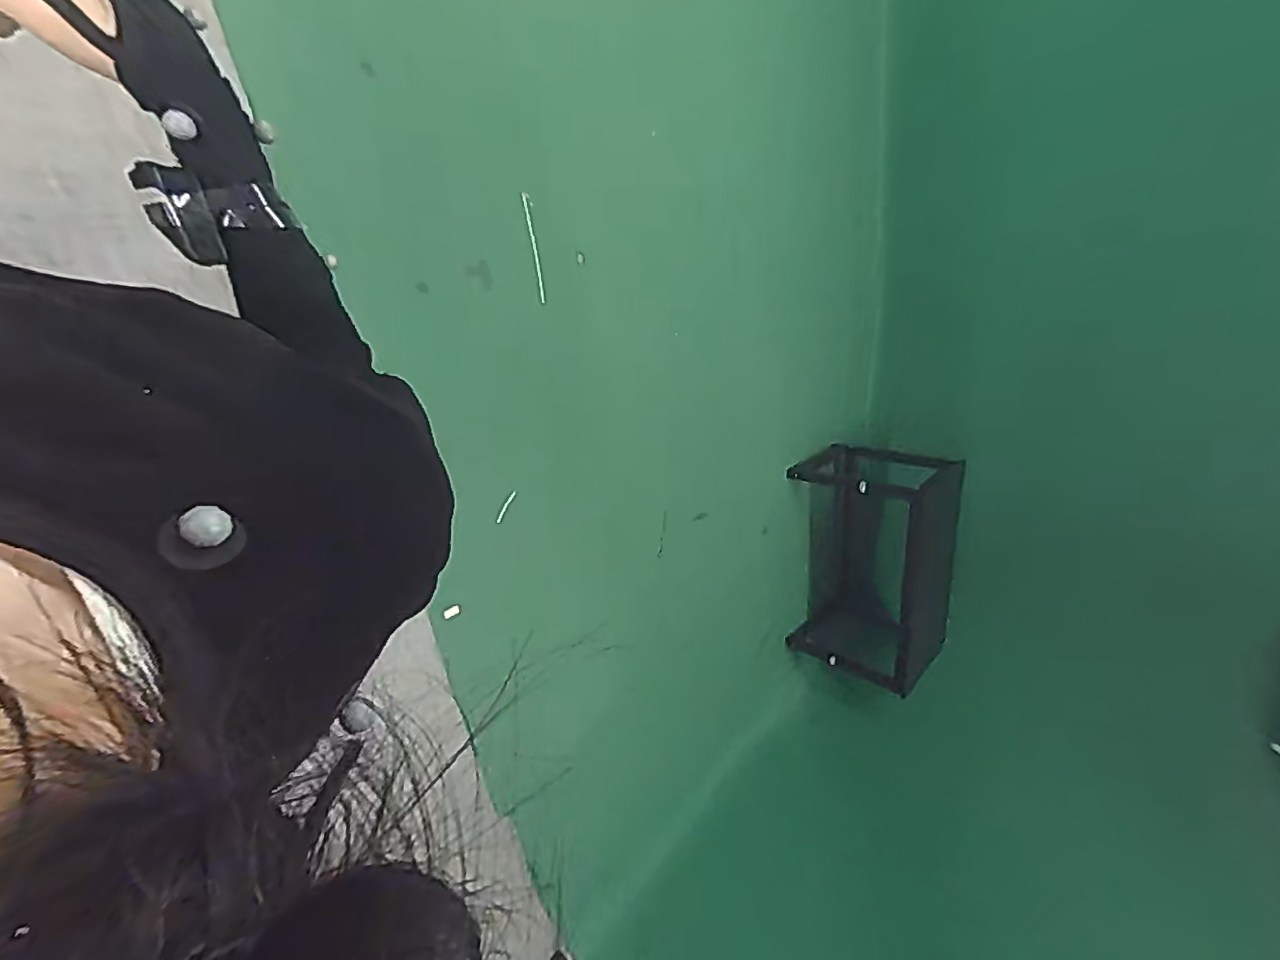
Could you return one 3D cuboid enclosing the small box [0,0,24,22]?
[{"bbox_3d":[-0.447,-0.381,0.272,0.168,0.176,0.179,-7,116,-50],"label":"small box"}]

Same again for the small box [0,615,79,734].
[{"bbox_3d":[-1.167,0.373,0.972,0.179,0.176,0.168,-30,119,-33],"label":"small box"}]

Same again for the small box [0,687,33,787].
[{"bbox_3d":[-1.096,0.408,0.820,0.168,0.176,0.179,-32,120,-31],"label":"small box"}]
